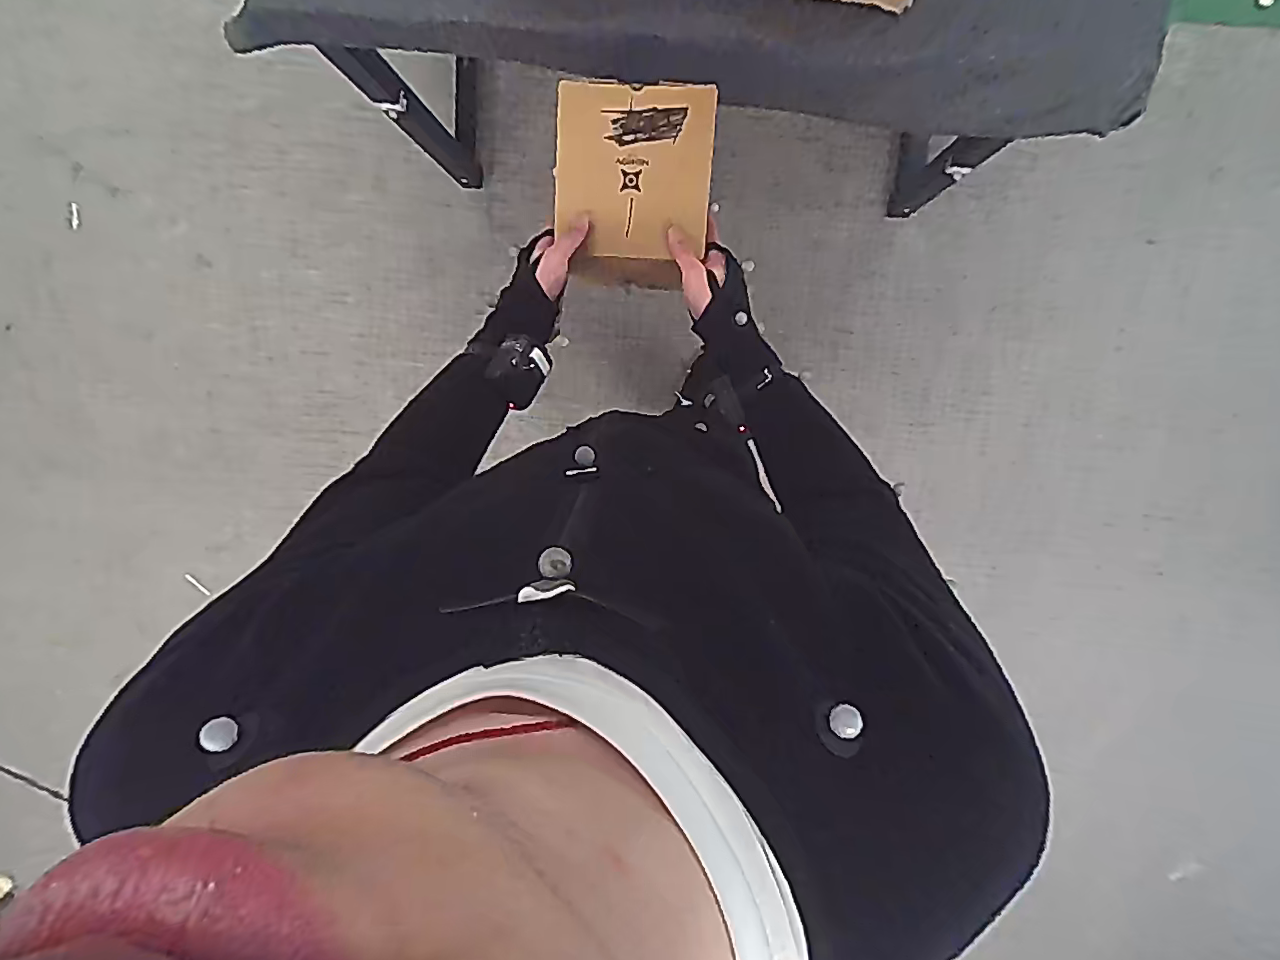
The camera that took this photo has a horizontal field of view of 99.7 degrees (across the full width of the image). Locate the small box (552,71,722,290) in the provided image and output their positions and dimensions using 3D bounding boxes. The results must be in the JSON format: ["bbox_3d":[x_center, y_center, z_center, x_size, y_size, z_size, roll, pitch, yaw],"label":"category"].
[{"bbox_3d":[-0.002,-0.339,0.644,0.168,0.176,0.179,6,100,3],"label":"small box"}]
